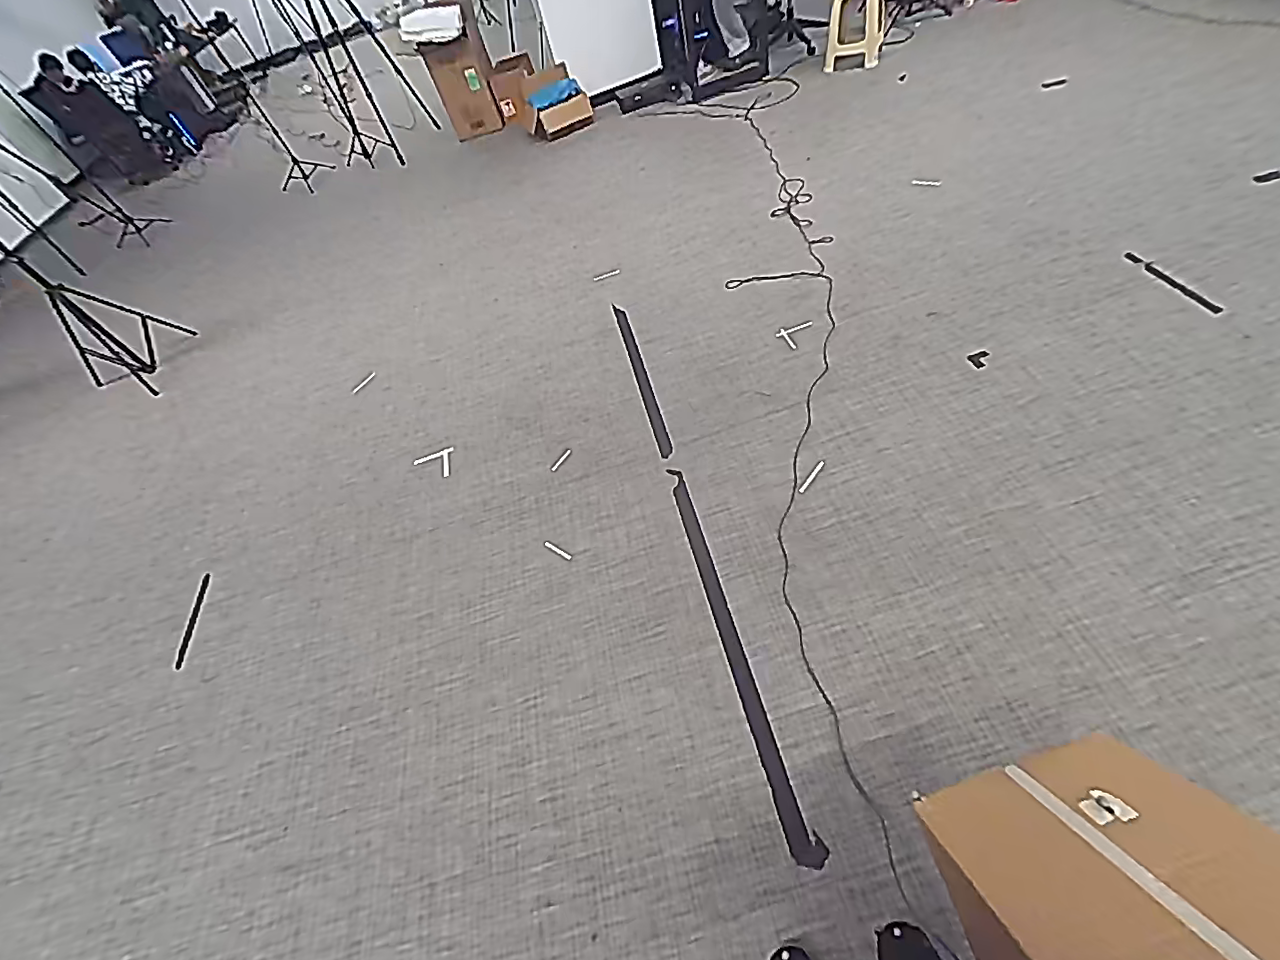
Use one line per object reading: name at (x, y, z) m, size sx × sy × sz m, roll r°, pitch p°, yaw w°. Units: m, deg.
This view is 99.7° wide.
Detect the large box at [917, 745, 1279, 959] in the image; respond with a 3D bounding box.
large box at (0.620, 0.598, 0.633) m, size 0.320 × 0.408 × 0.320 m, roll -21°, pitch 88°, yaw 2°
